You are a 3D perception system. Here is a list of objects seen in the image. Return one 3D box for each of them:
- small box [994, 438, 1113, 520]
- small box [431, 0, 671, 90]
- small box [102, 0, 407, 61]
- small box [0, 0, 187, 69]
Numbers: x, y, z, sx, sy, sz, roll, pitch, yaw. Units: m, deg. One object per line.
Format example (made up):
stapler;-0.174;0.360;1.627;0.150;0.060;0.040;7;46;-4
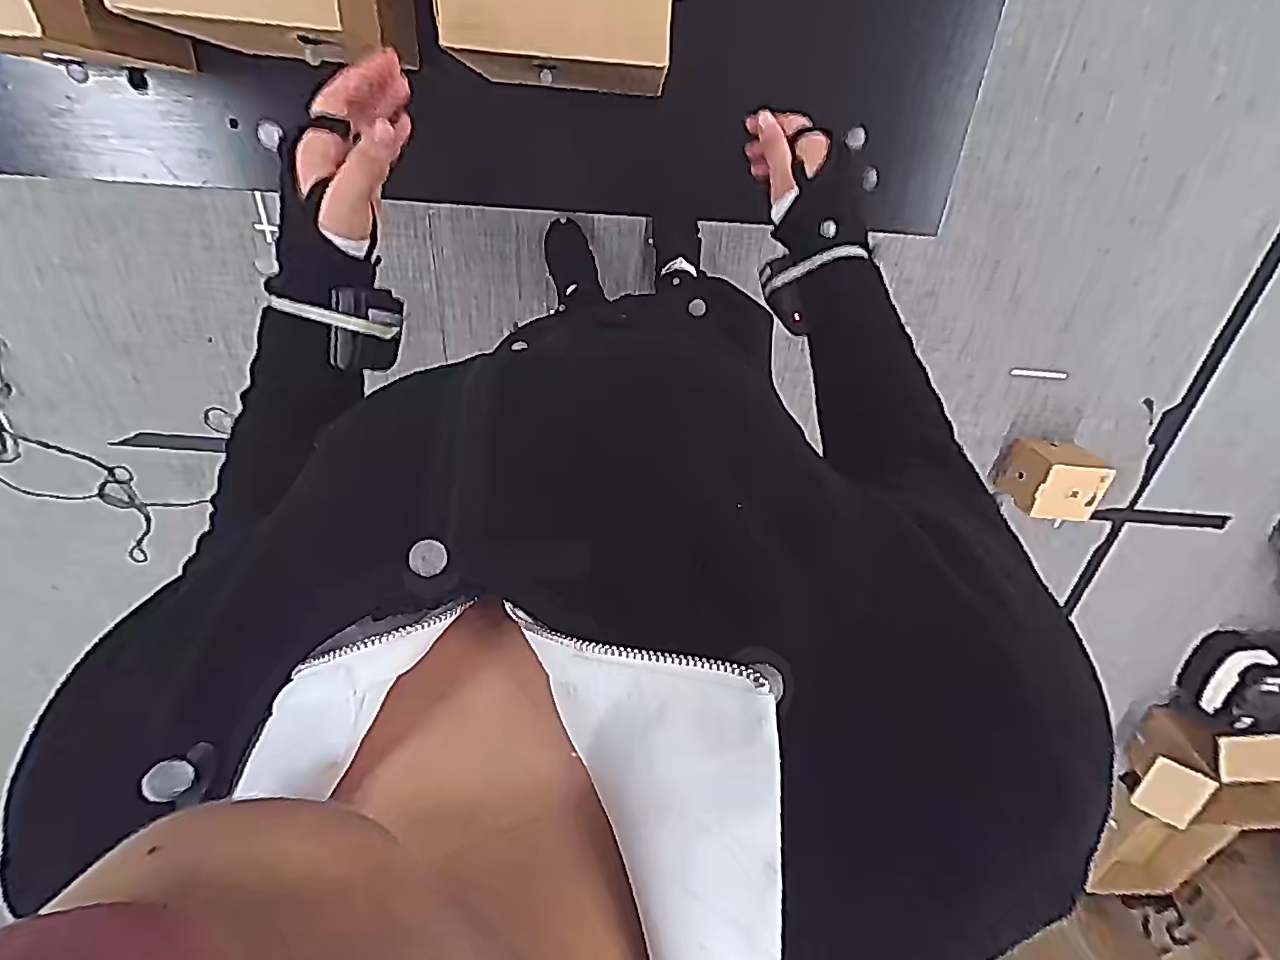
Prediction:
small box;1.146;-0.007;1.520;0.179;0.176;0.168;5;119;-2
small box;-0.060;-0.431;0.436;0.179;0.176;0.168;4;120;-3
small box;-0.300;-0.450;0.424;0.179;0.176;0.168;4;119;-2
small box;-0.520;-0.451;0.425;0.168;0.176;0.179;4;120;-1
